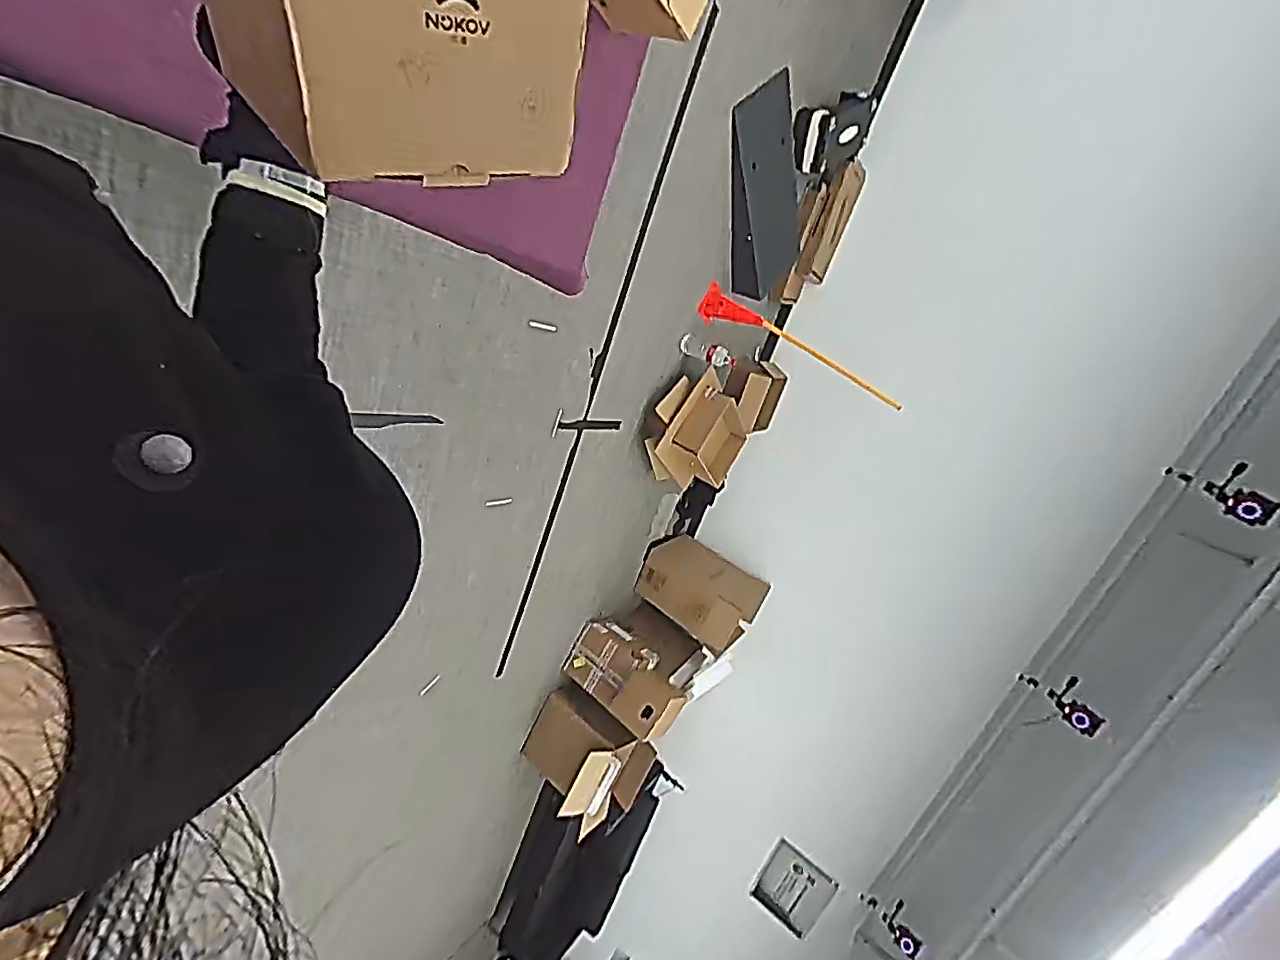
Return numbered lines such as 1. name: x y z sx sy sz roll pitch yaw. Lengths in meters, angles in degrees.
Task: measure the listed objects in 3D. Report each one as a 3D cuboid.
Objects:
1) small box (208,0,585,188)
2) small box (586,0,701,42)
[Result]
1. small box: -0.149 -0.301 0.320 0.168 0.176 0.179 -25 150 -35
2. small box: 0.002 -0.794 0.782 0.168 0.176 0.179 -2 123 -60
